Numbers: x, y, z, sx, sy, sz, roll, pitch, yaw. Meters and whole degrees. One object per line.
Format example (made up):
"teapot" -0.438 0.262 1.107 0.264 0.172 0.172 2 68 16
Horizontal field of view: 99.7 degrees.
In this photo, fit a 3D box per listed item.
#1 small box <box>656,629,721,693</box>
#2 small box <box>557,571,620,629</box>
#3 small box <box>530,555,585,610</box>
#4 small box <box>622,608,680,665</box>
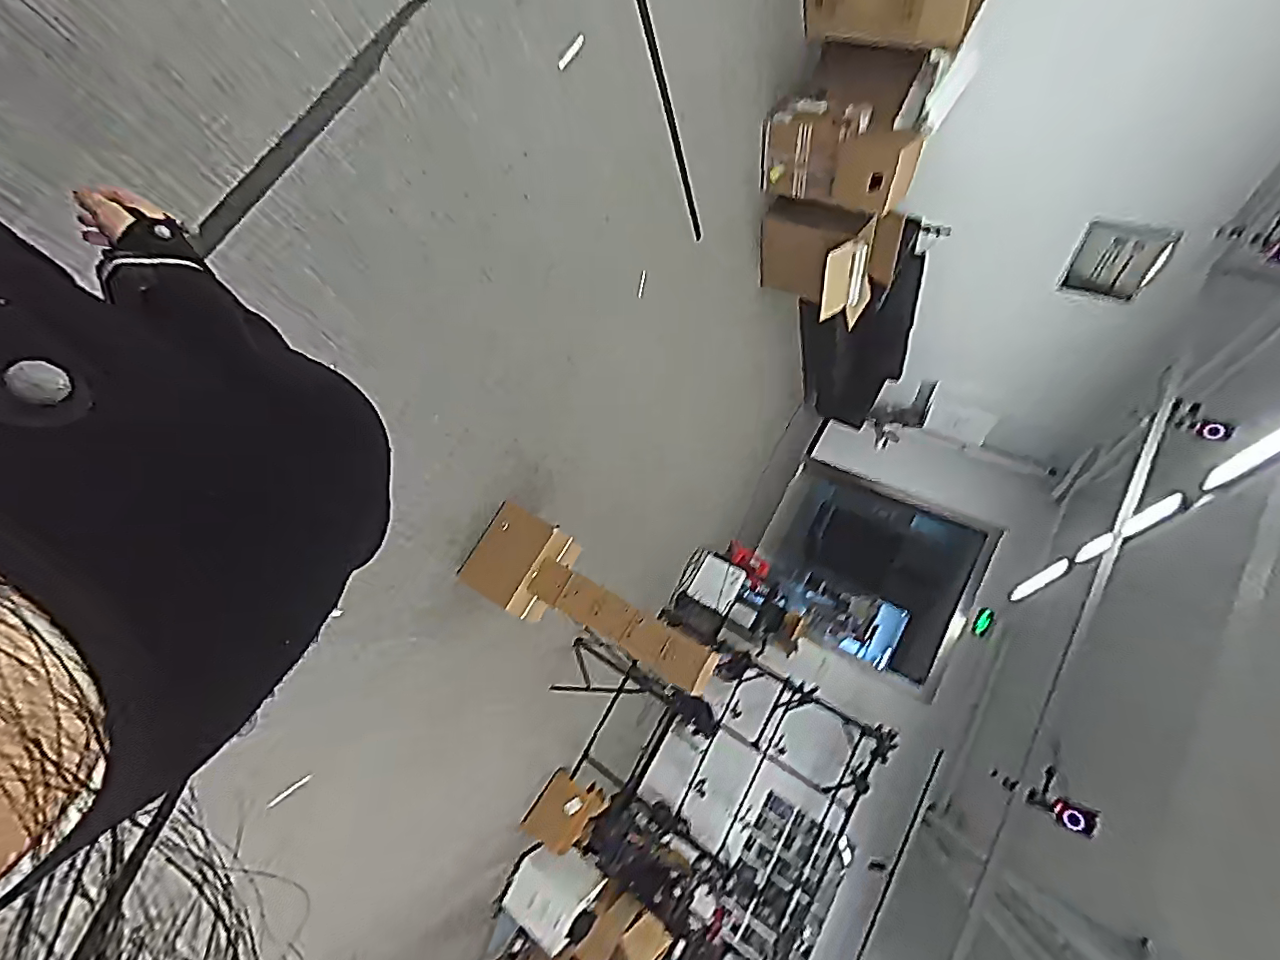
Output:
"small box" 0.184 0.682 2.044 0.168 0.176 0.179 -60 152 -11
"small box" -0.215 0.501 2.270 0.168 0.176 0.179 -60 152 -11
"small box" -0.347 0.446 2.347 0.179 0.176 0.168 -59 152 -10
"small box" 0.051 0.622 2.120 0.168 0.176 0.179 -59 153 -13
